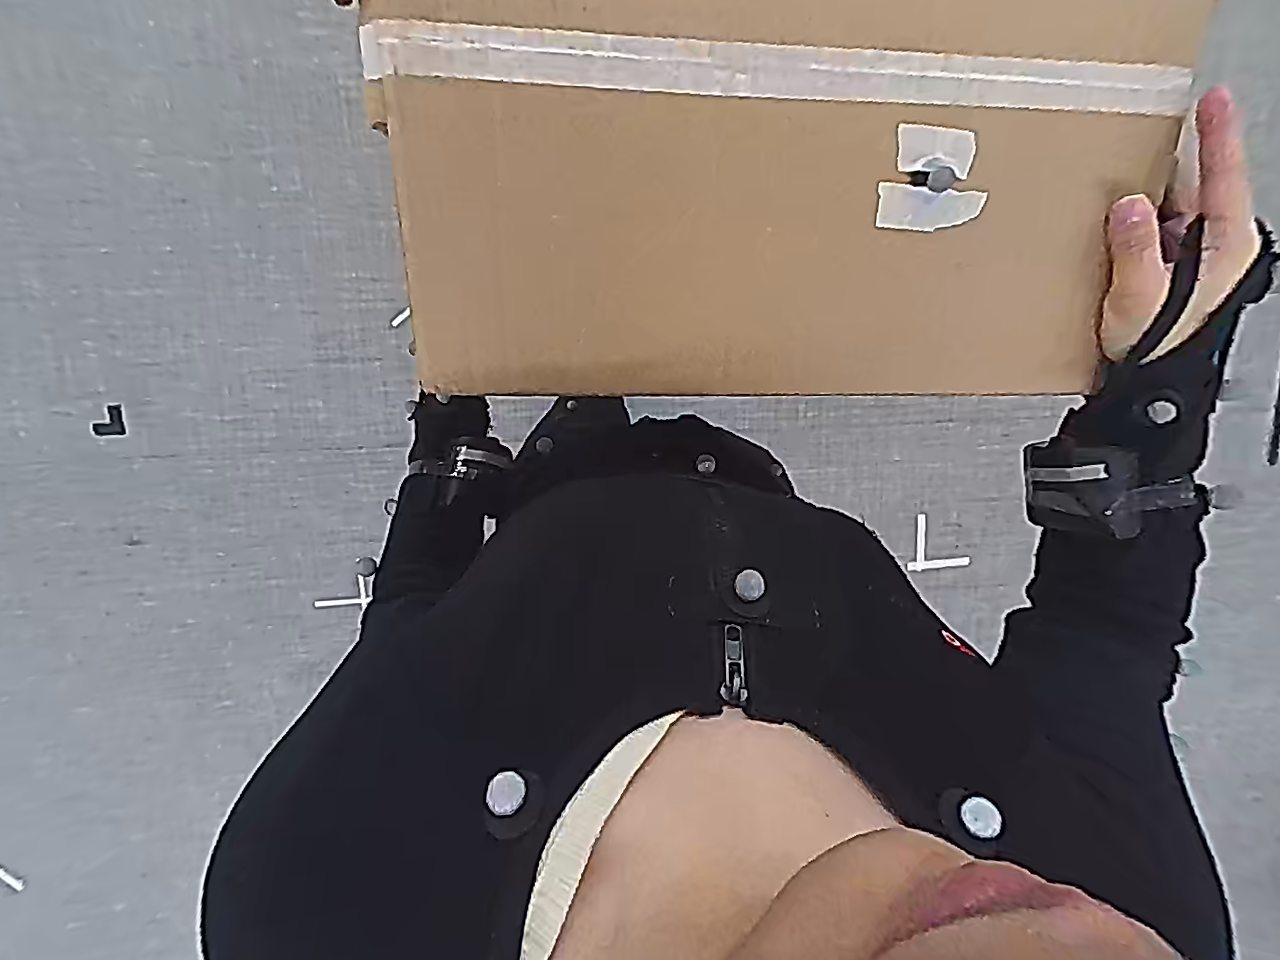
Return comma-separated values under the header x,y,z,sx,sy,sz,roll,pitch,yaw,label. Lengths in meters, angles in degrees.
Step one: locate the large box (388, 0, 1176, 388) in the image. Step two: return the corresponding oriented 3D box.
x,y,z,sx,sy,sz,roll,pitch,yaw,label
0.062,-0.253,0.414,0.408,0.320,0.320,-2,110,-7,large box
